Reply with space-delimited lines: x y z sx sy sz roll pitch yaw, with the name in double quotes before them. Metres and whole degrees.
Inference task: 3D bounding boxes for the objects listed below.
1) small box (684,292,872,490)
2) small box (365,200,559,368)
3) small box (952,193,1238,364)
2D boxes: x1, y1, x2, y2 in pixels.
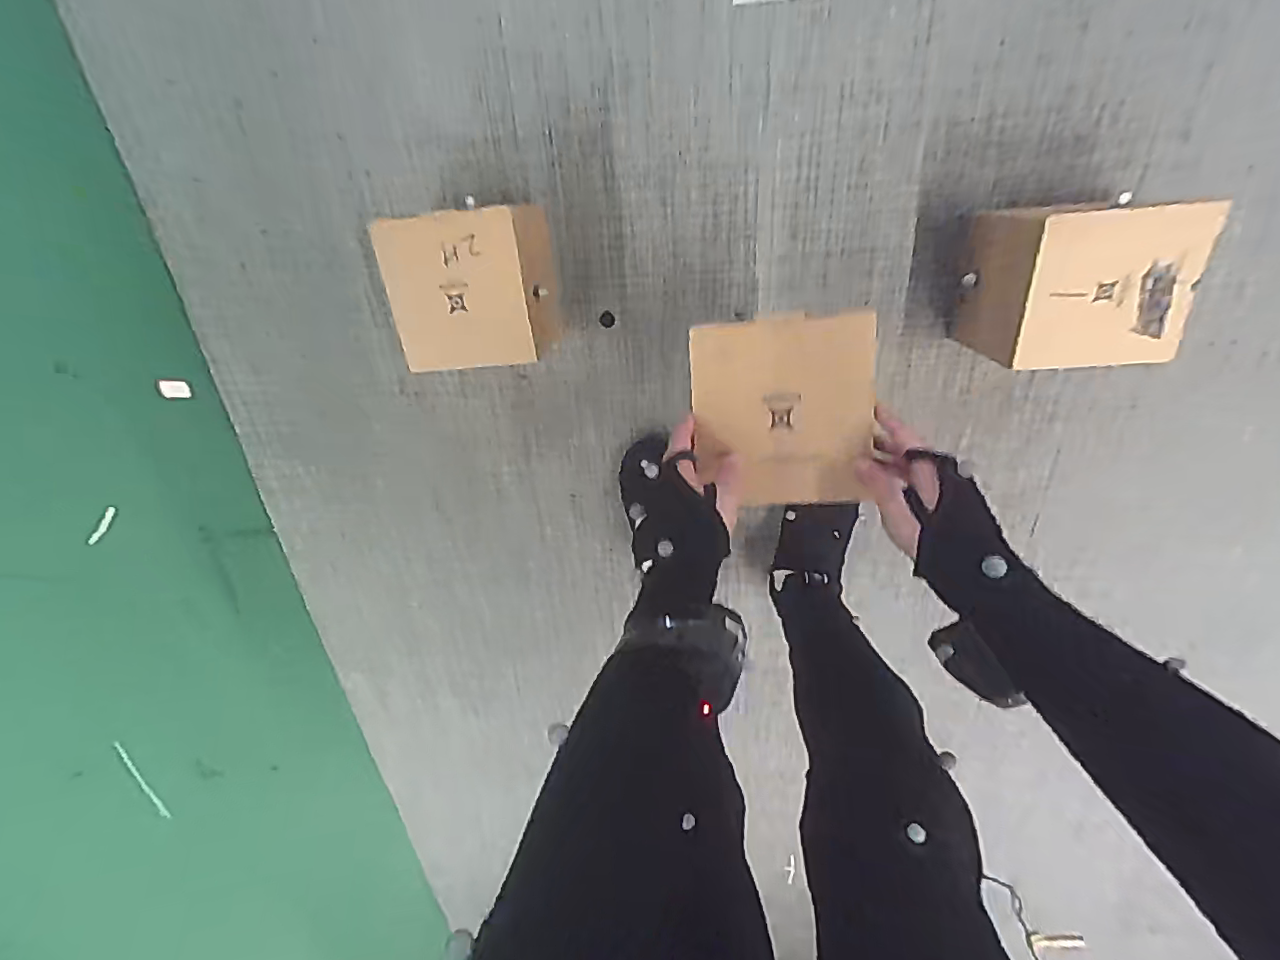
"small box" 0.140 -0.095 0.574 0.168 0.176 0.179 -2 105 13
"small box" -0.210 -0.255 0.695 0.168 0.176 0.179 -3 116 6
"small box" 0.508 -0.243 0.640 0.179 0.176 0.168 -2 117 6
